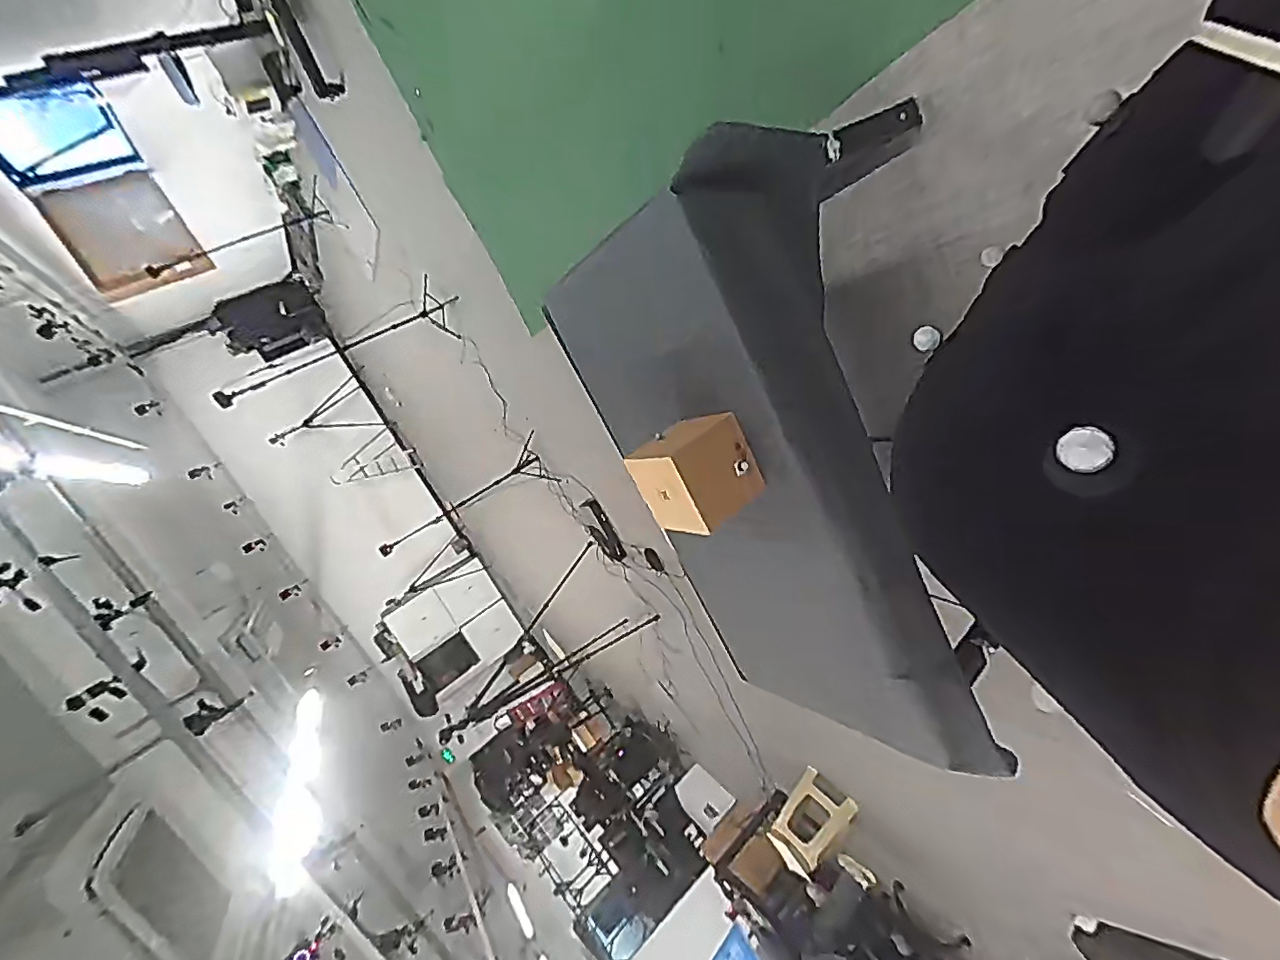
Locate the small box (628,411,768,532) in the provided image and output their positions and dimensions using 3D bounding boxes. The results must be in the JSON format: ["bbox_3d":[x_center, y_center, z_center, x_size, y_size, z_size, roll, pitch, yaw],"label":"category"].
[{"bbox_3d":[0.112,-0.019,1.047,0.179,0.176,0.168,-2,121,60],"label":"small box"}]
